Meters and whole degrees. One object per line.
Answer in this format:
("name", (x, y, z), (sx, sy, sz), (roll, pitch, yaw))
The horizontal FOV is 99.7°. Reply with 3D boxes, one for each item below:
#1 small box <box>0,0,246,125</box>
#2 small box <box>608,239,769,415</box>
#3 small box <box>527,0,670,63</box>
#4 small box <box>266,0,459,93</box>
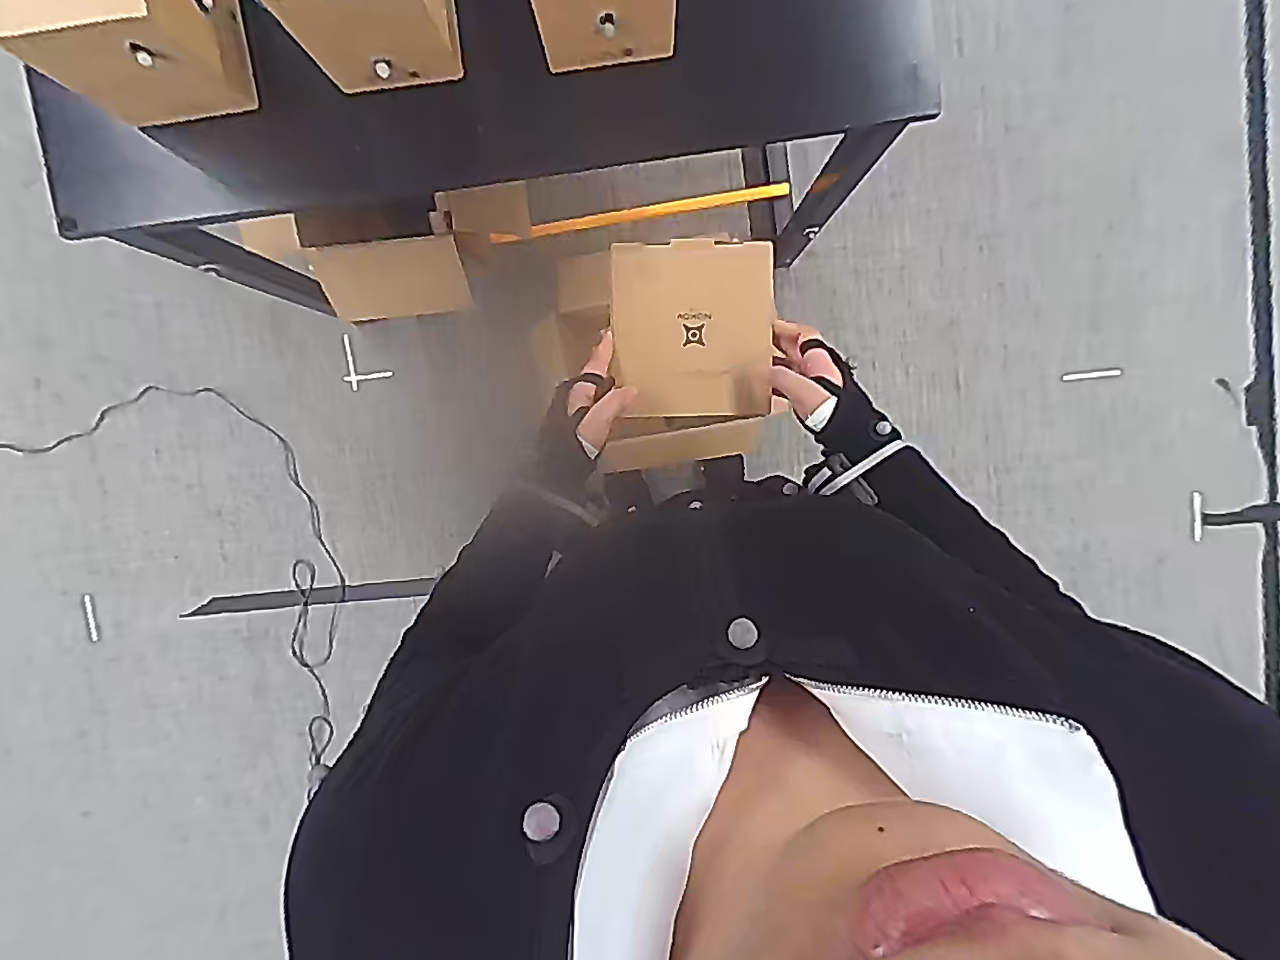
("small box", (-0.610, -0.559, 0.642), (0.179, 0.176, 0.168), (-8, 94, 1))
("small box", (0.047, -0.167, 0.634), (0.168, 0.176, 0.179), (-2, 99, -3))
("small box", (-0.053, -0.627, 0.629), (0.168, 0.176, 0.179), (-7, 95, 2))
("small box", (-0.328, -0.603, 0.635), (0.168, 0.176, 0.179), (-6, 96, 2))
